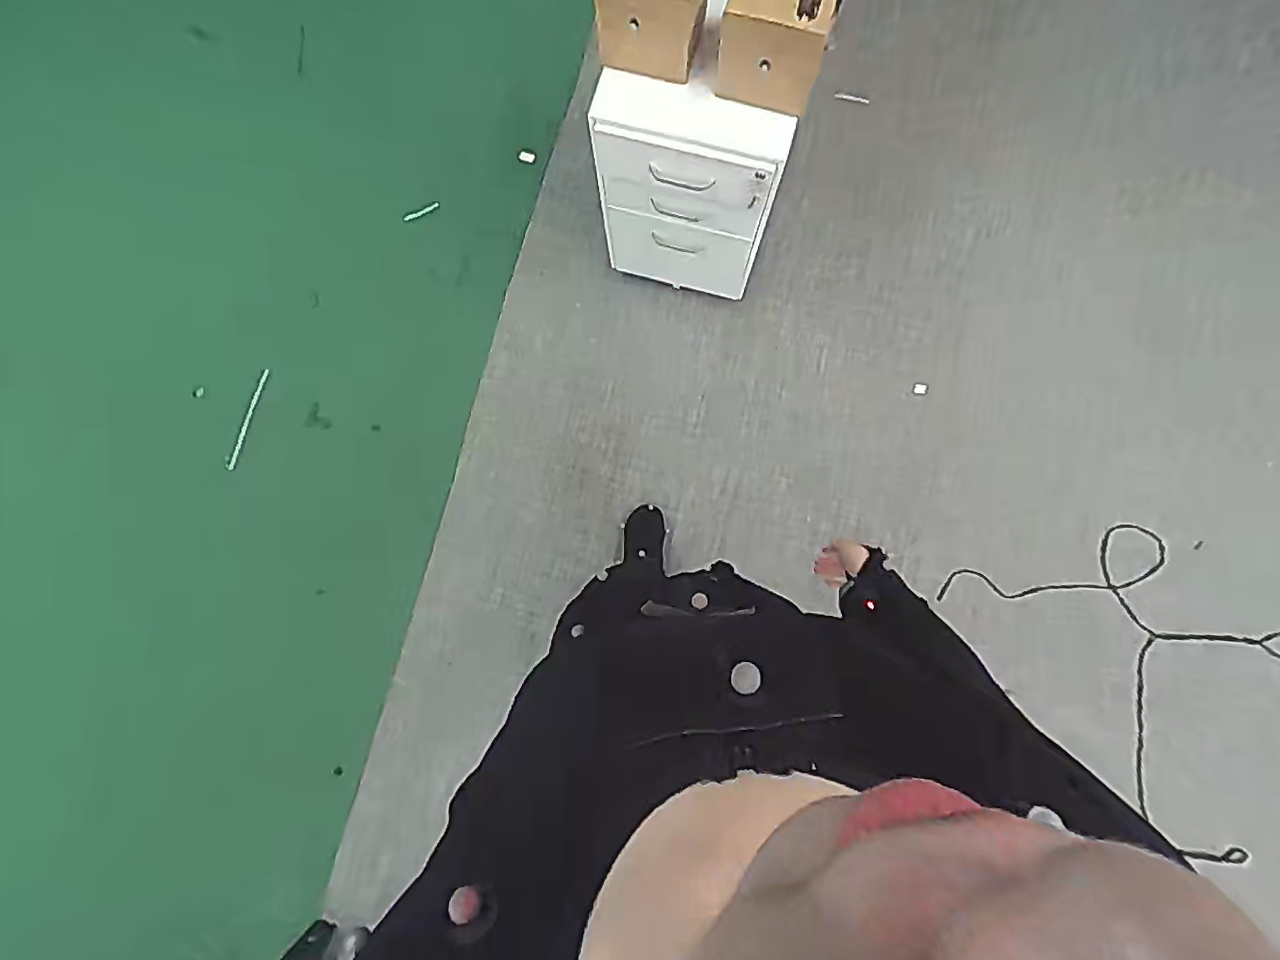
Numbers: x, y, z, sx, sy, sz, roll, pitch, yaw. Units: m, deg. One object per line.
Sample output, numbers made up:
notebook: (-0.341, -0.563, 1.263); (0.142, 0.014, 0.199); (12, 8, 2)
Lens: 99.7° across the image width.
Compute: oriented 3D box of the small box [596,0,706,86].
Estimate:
small box: (0.021, -0.874, 0.995); (0.179, 0.176, 0.168); (15, 82, 3)
